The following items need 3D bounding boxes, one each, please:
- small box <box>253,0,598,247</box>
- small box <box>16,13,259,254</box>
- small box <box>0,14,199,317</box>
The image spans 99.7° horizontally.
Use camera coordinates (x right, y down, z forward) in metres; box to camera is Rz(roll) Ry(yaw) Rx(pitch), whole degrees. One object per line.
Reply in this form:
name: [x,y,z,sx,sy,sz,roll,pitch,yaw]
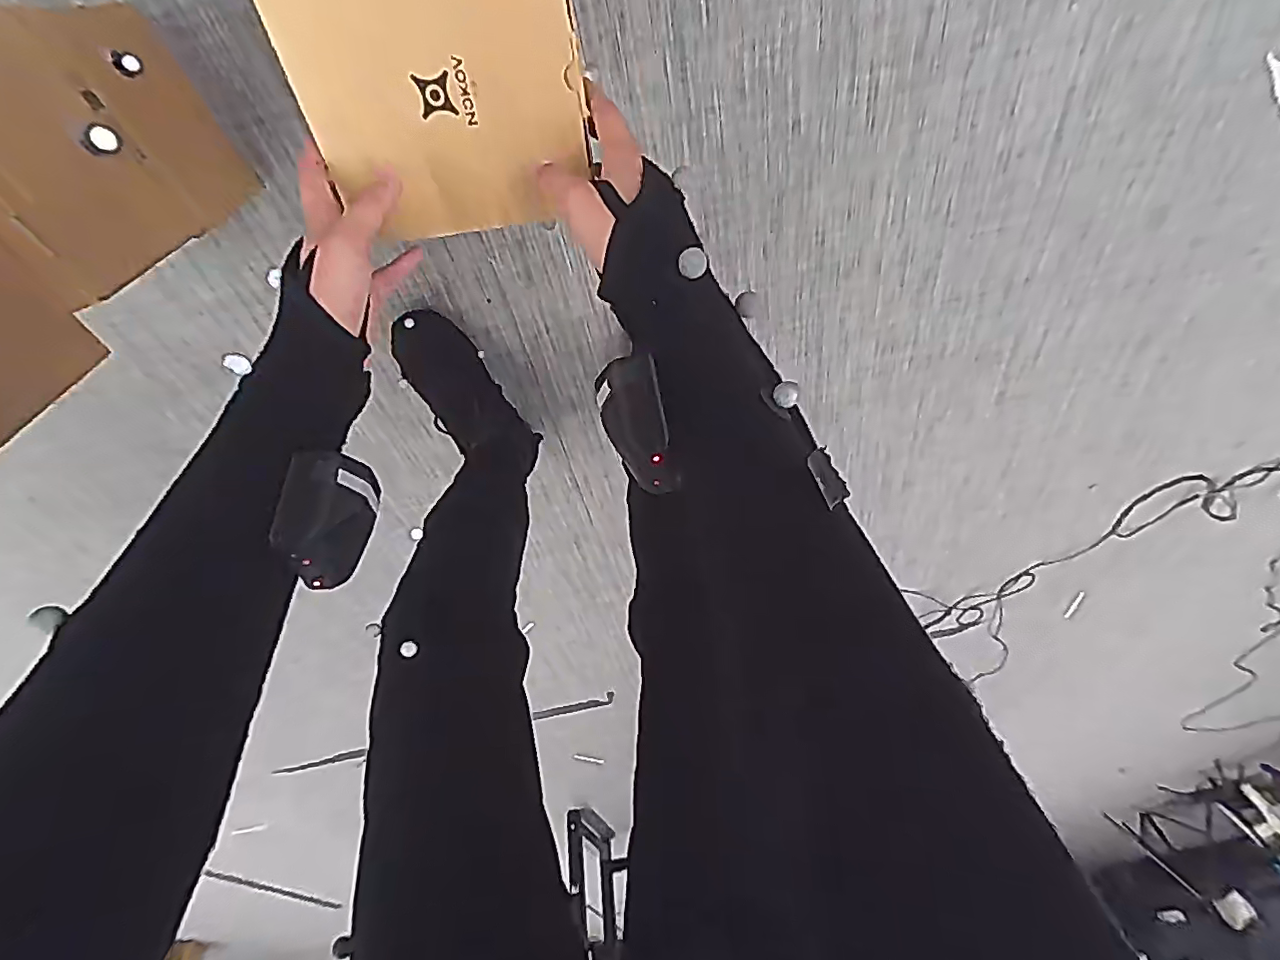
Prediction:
small box: [-0.131,-0.290,0.393,0.179,0.176,0.168,-9,133,-2]
small box: [-0.528,-0.319,0.524,0.168,0.176,0.179,-15,134,5]
small box: [-0.496,-0.214,0.402,0.179,0.176,0.168,-16,133,6]
